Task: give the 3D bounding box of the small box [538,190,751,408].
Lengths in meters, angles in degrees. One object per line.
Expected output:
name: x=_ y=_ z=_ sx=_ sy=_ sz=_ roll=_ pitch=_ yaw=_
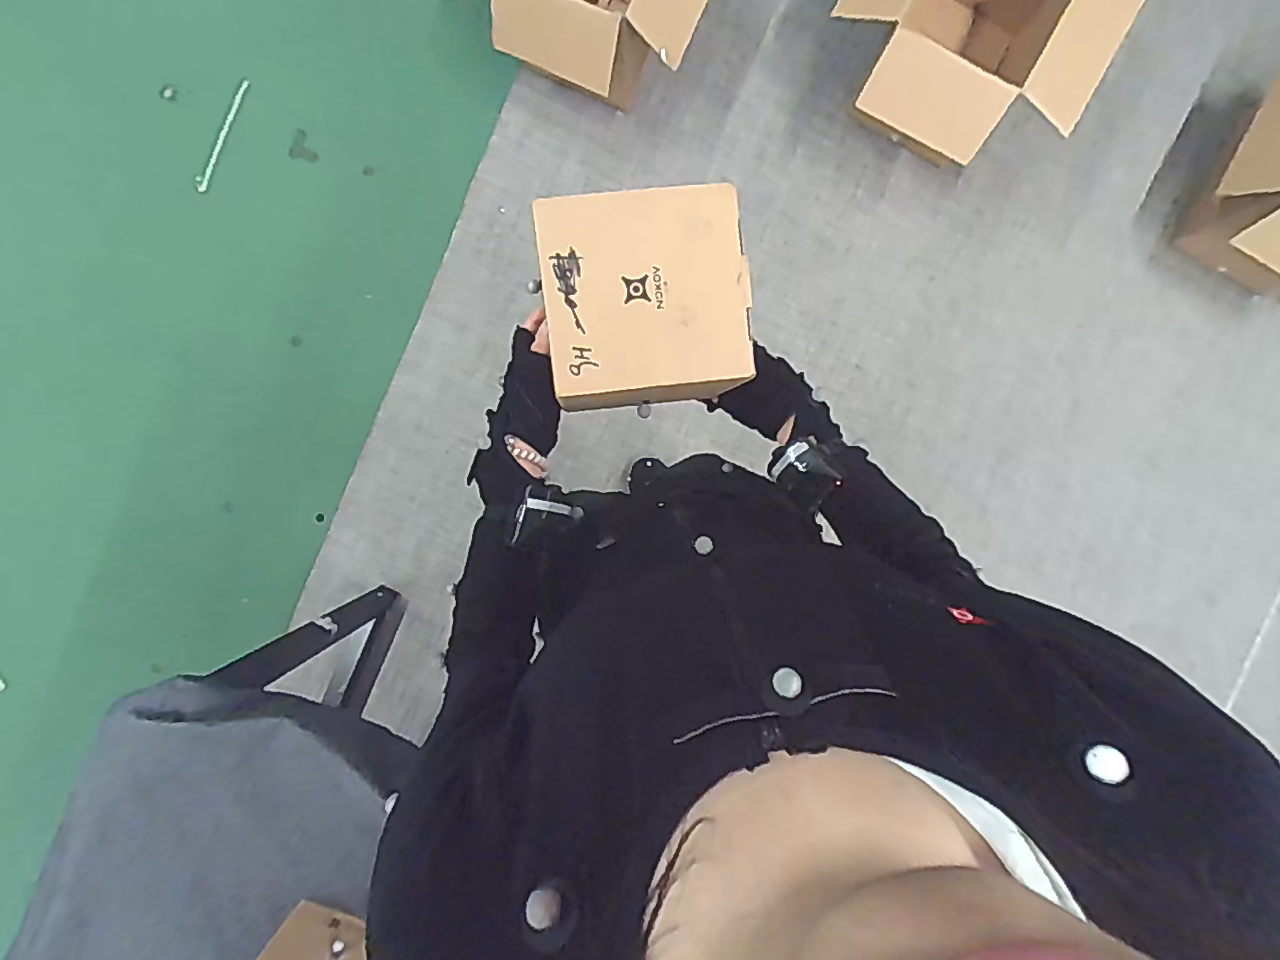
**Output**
small box: x=-0.003 y=-0.166 z=0.542 sx=0.179 sy=0.176 sz=0.168 roll=-6 pitch=92 yaw=-6
